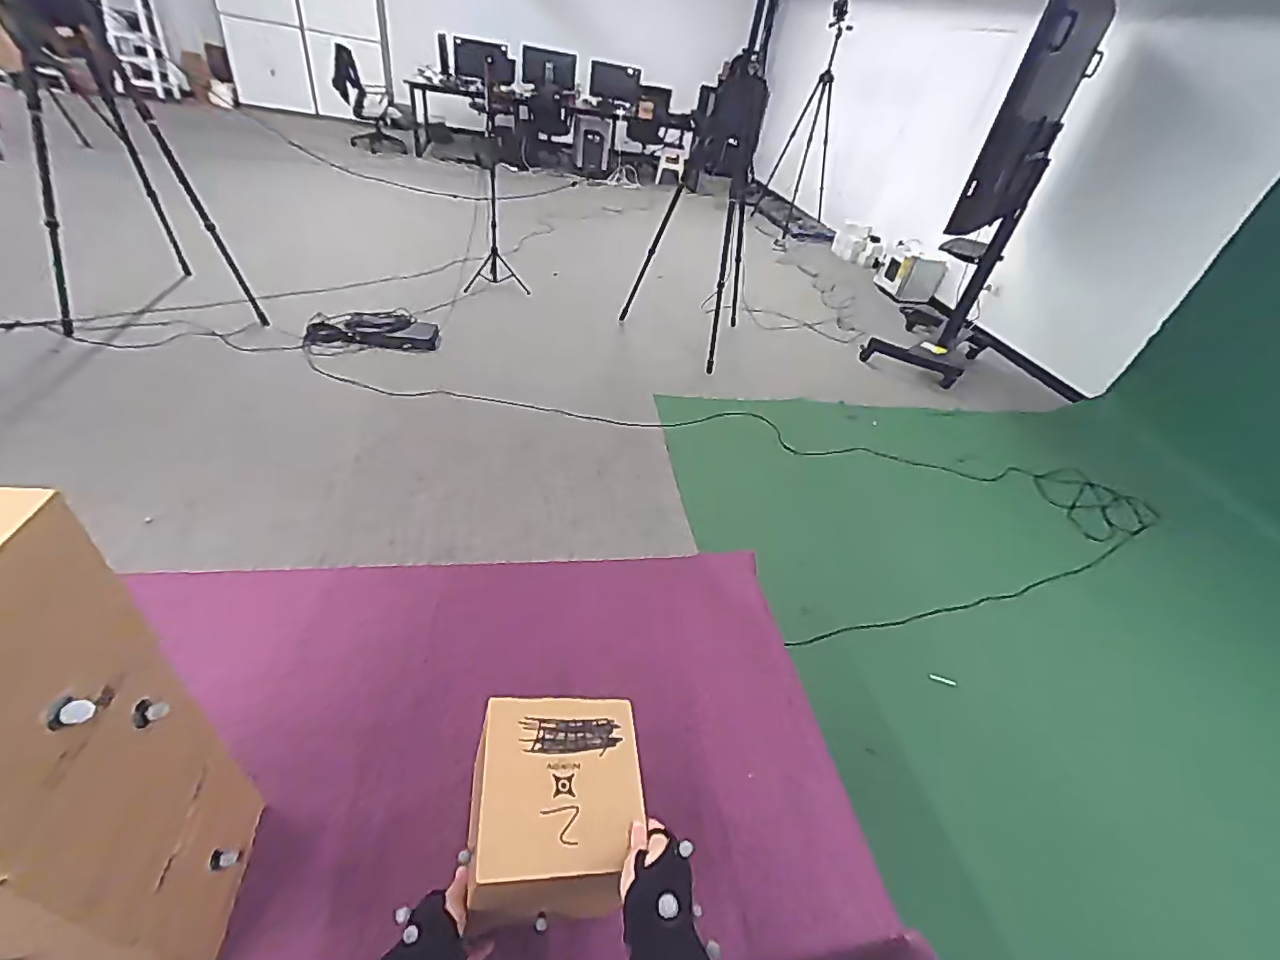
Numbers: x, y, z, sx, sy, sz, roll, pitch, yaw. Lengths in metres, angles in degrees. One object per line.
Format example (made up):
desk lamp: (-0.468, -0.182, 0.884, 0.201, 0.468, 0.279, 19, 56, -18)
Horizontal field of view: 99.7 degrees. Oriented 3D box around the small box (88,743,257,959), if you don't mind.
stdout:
small box: (-0.505, 0.379, 0.518, 0.179, 0.176, 0.168, 0, 40, -15)
